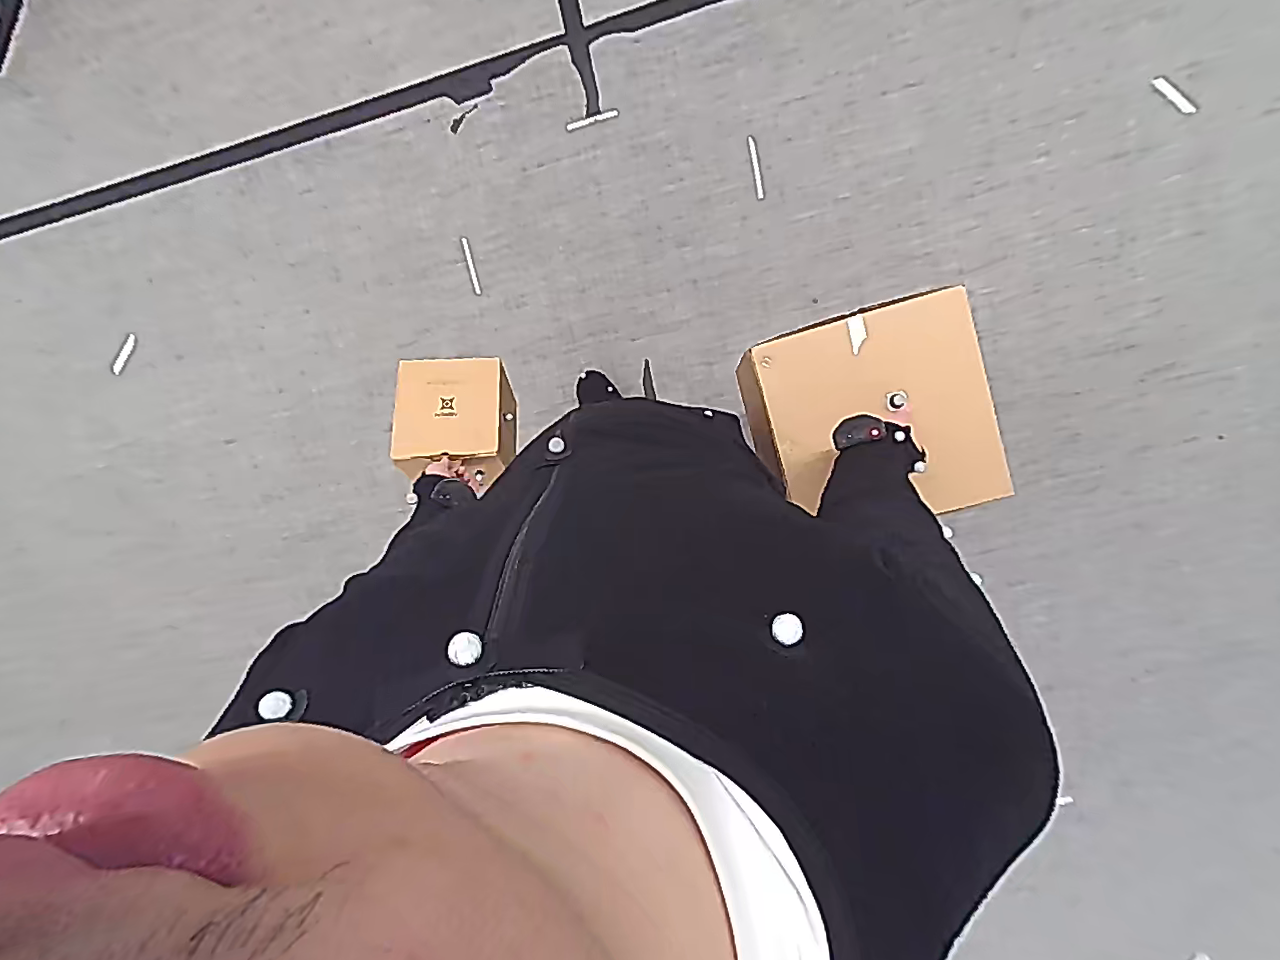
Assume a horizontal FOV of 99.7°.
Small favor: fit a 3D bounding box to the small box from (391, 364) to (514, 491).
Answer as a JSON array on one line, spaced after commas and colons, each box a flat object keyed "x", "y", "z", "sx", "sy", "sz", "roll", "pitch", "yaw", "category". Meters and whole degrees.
[{"x": -0.315, "y": -0.083, "z": 0.943, "sx": 0.168, "sy": 0.176, "sz": 0.179, "roll": -2, "pitch": 71, "yaw": -5, "category": "small box"}]
